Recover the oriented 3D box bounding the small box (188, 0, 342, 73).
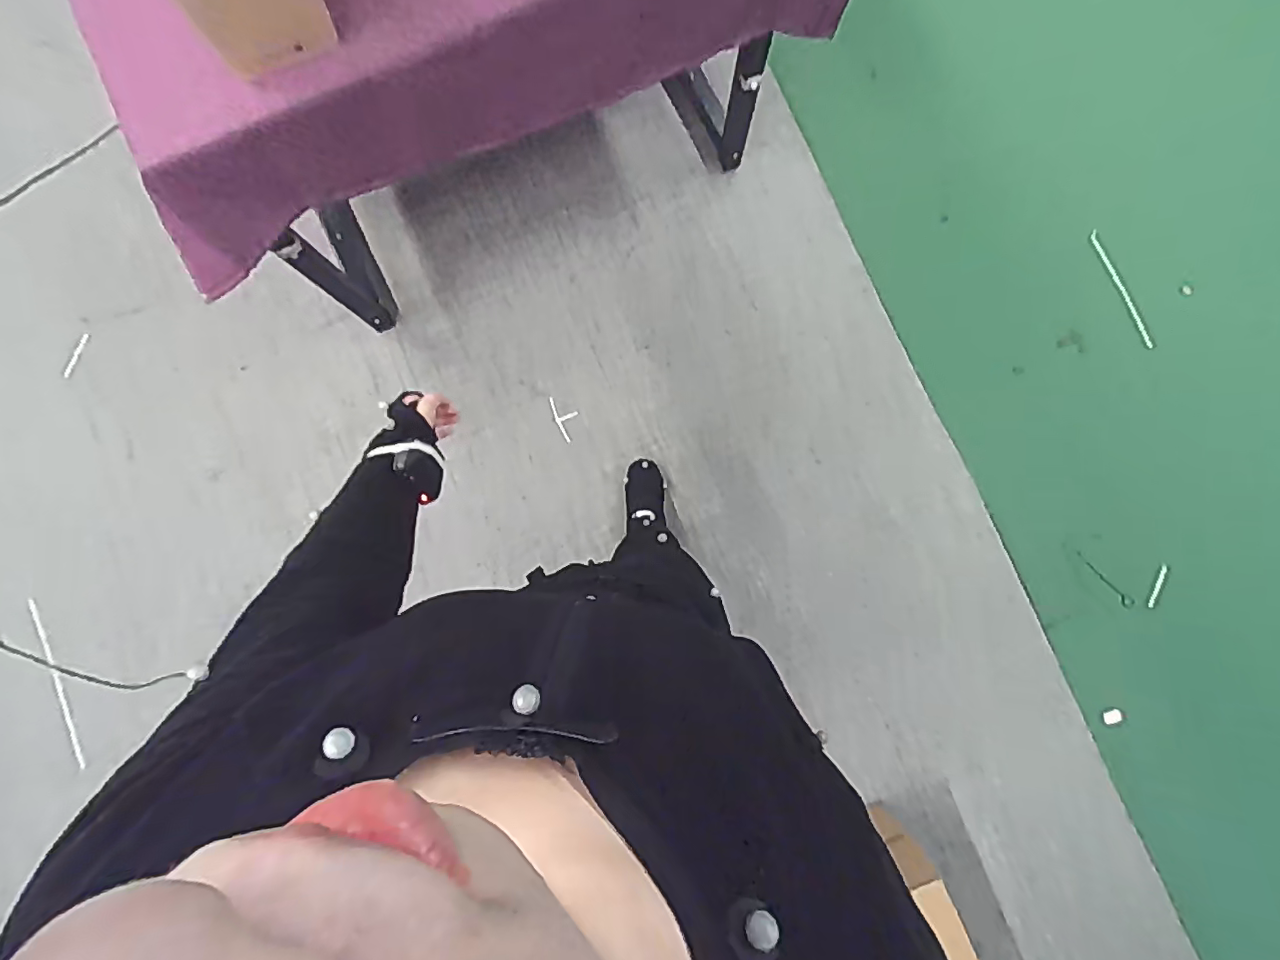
[{"bbox_3d":[-0.573,-0.749,0.779,0.168,0.176,0.179,-23,84,-1],"label":"small box"}]
